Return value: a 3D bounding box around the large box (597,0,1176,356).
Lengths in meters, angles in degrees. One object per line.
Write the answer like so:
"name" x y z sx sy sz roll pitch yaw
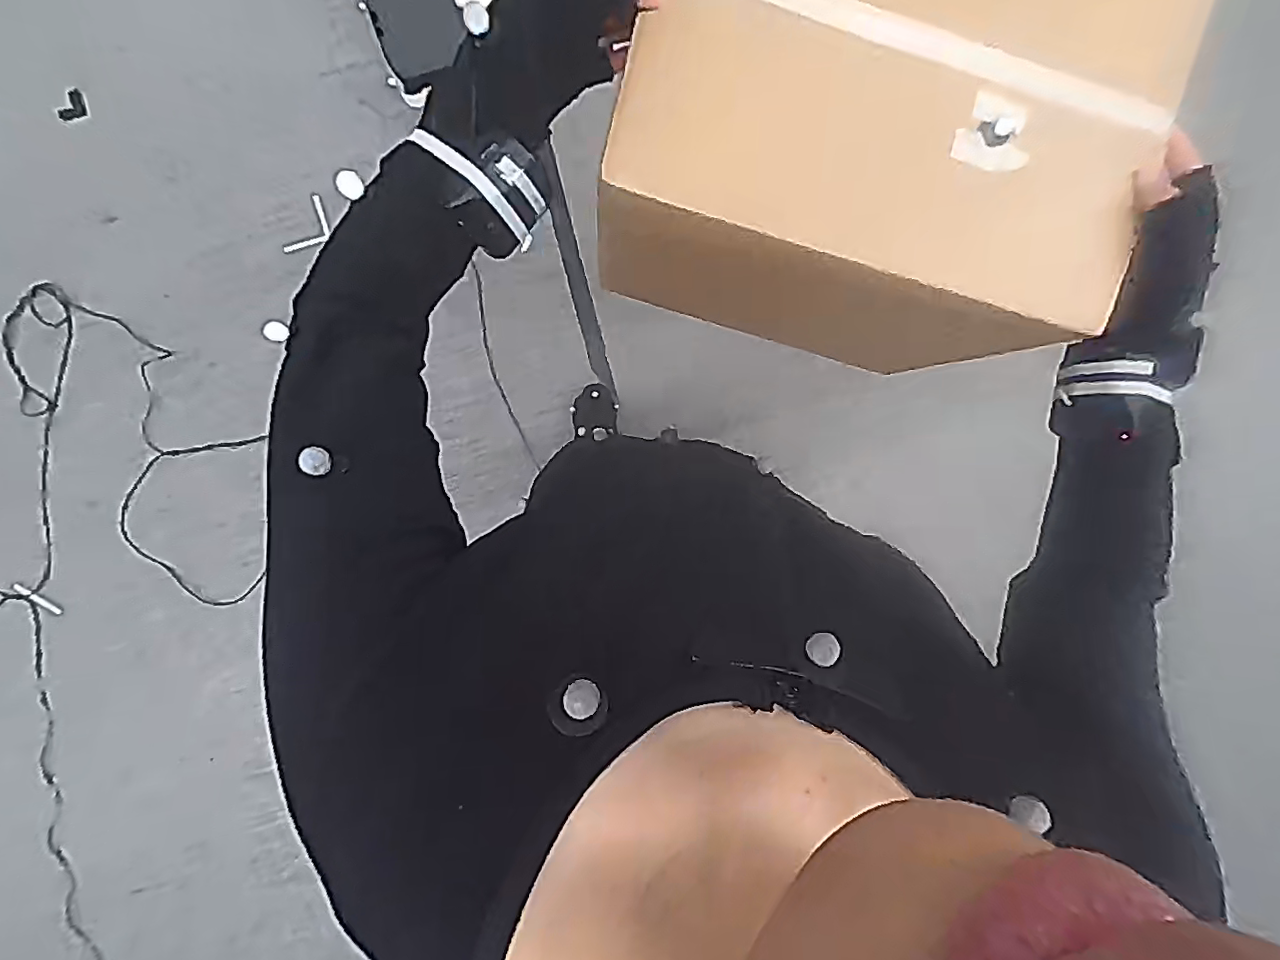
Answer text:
"large box" 0.182 -0.340 0.547 0.408 0.320 0.320 13 95 -6
